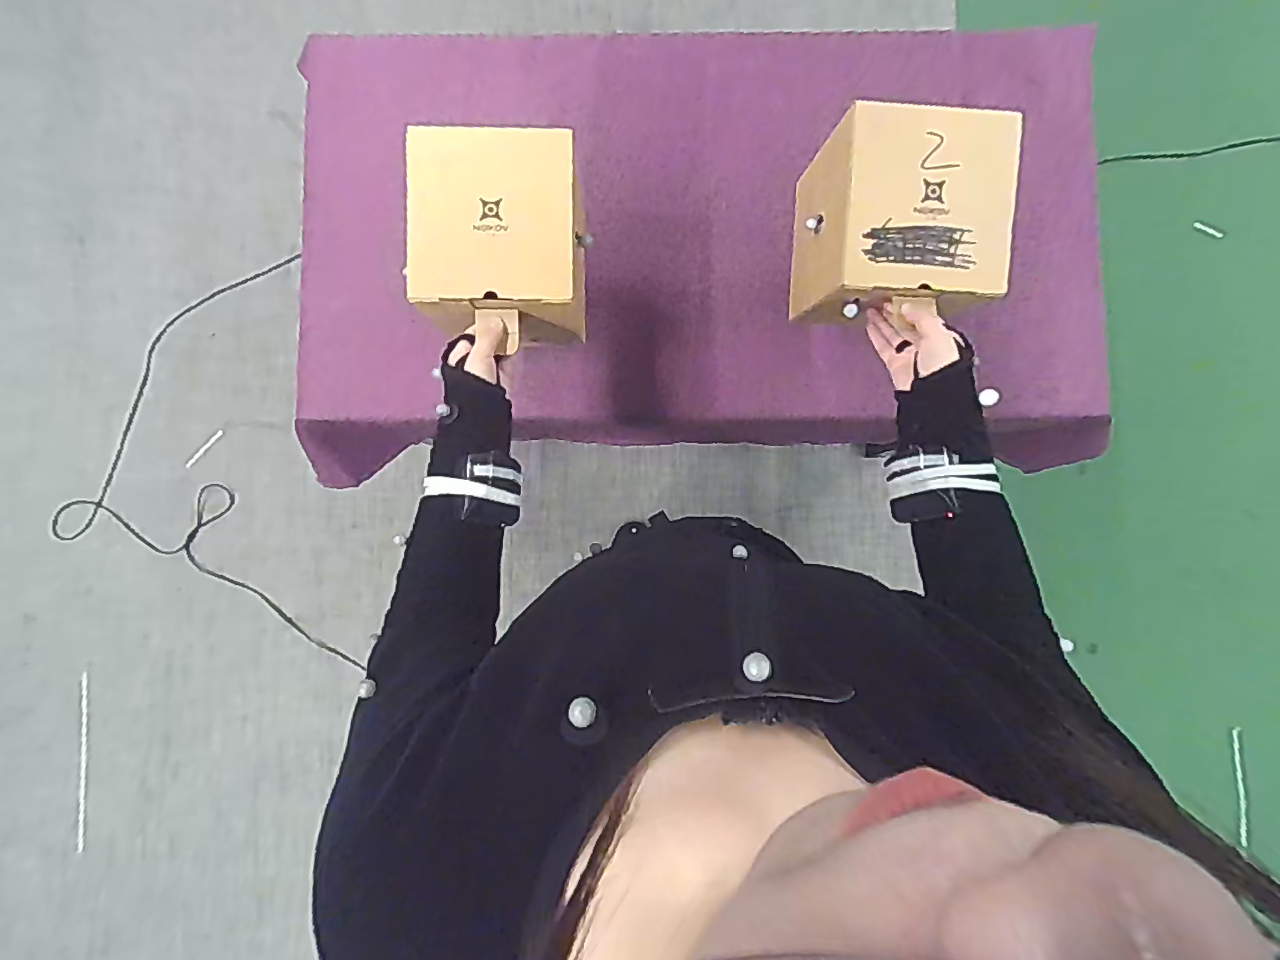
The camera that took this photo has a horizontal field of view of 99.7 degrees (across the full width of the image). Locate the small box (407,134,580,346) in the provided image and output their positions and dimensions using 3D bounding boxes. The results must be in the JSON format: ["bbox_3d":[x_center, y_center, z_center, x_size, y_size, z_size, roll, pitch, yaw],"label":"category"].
[{"bbox_3d":[-0.159,-0.265,0.632,0.168,0.176,0.179,-1,90,-2],"label":"small box"}]
